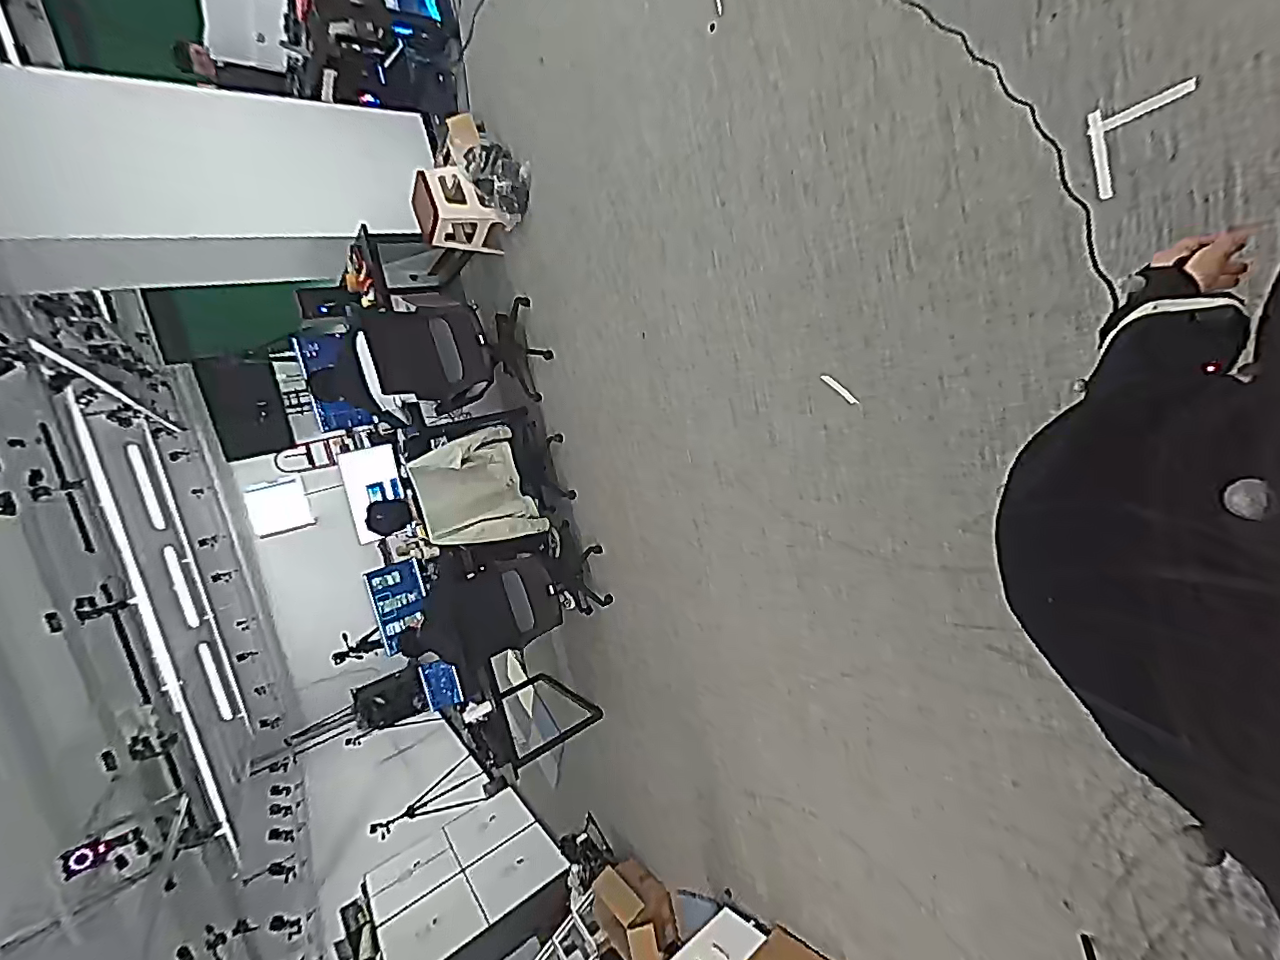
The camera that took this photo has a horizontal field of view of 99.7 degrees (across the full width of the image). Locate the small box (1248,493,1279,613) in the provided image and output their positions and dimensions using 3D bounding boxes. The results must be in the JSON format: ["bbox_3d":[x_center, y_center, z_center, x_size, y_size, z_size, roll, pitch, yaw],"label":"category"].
[{"bbox_3d":[1.213,0.131,0.949,0.168,0.176,0.179,-3,104,57],"label":"small box"}]
